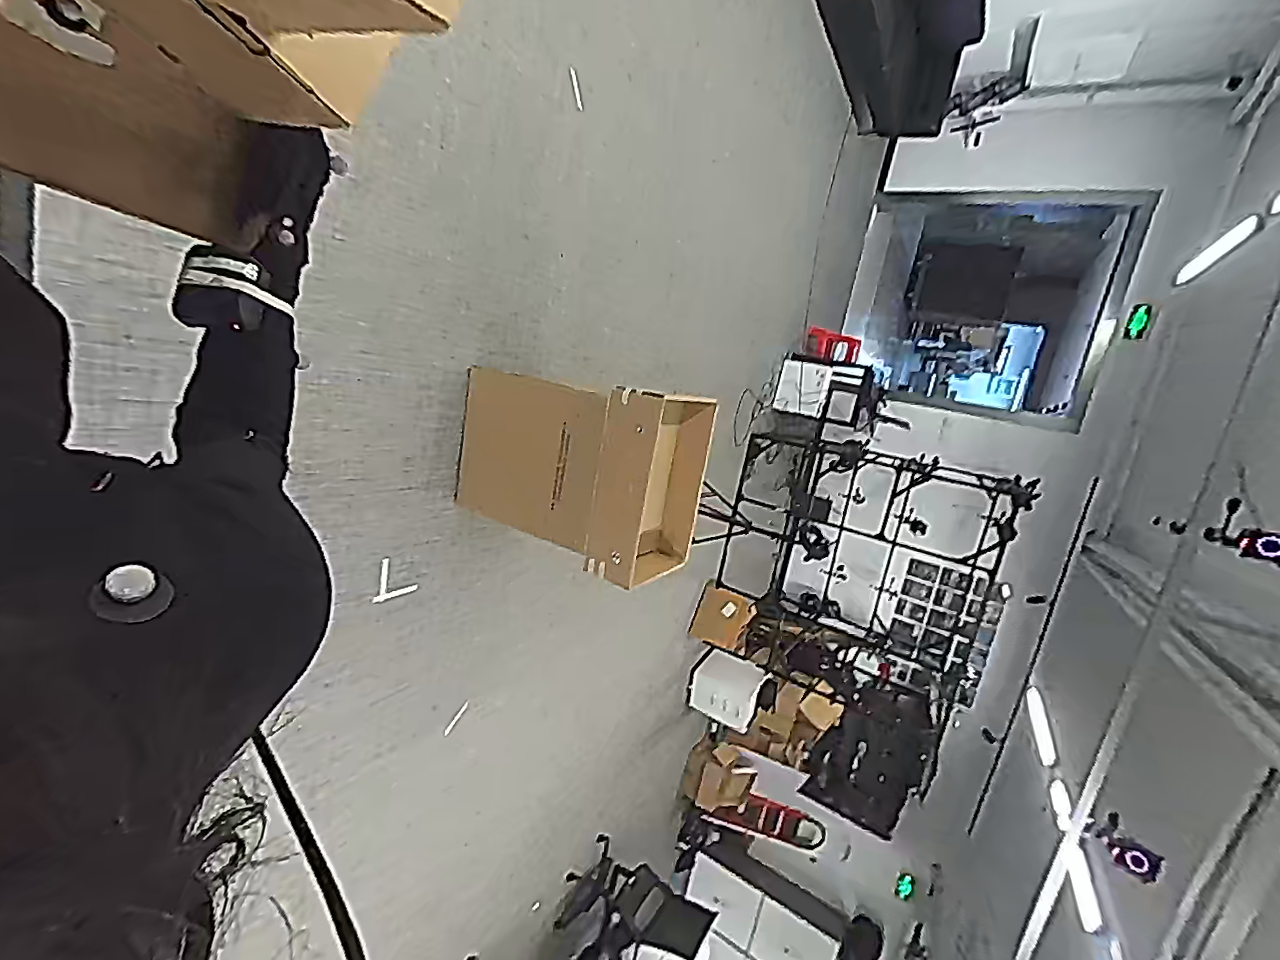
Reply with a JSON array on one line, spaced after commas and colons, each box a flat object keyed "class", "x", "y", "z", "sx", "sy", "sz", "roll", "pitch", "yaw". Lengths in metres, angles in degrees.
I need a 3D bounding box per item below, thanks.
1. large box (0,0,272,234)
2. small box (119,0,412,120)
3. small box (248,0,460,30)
[{"class": "large box", "x": -0.539, "y": -0.428, "z": 0.375, "sx": 0.408, "sy": 0.320, "sz": 0.320, "roll": 5, "pitch": 107, "yaw": -64}, {"class": "small box", "x": -0.269, "y": -0.383, "z": 0.364, "sx": 0.179, "sy": 0.176, "sz": 0.168, "roll": -65, "pitch": 154, "yaw": -5}, {"class": "small box", "x": -0.177, "y": -0.324, "z": 0.213, "sx": 0.168, "sy": 0.176, "sz": 0.179, "roll": -15, "pitch": 126, "yaw": -58}]
